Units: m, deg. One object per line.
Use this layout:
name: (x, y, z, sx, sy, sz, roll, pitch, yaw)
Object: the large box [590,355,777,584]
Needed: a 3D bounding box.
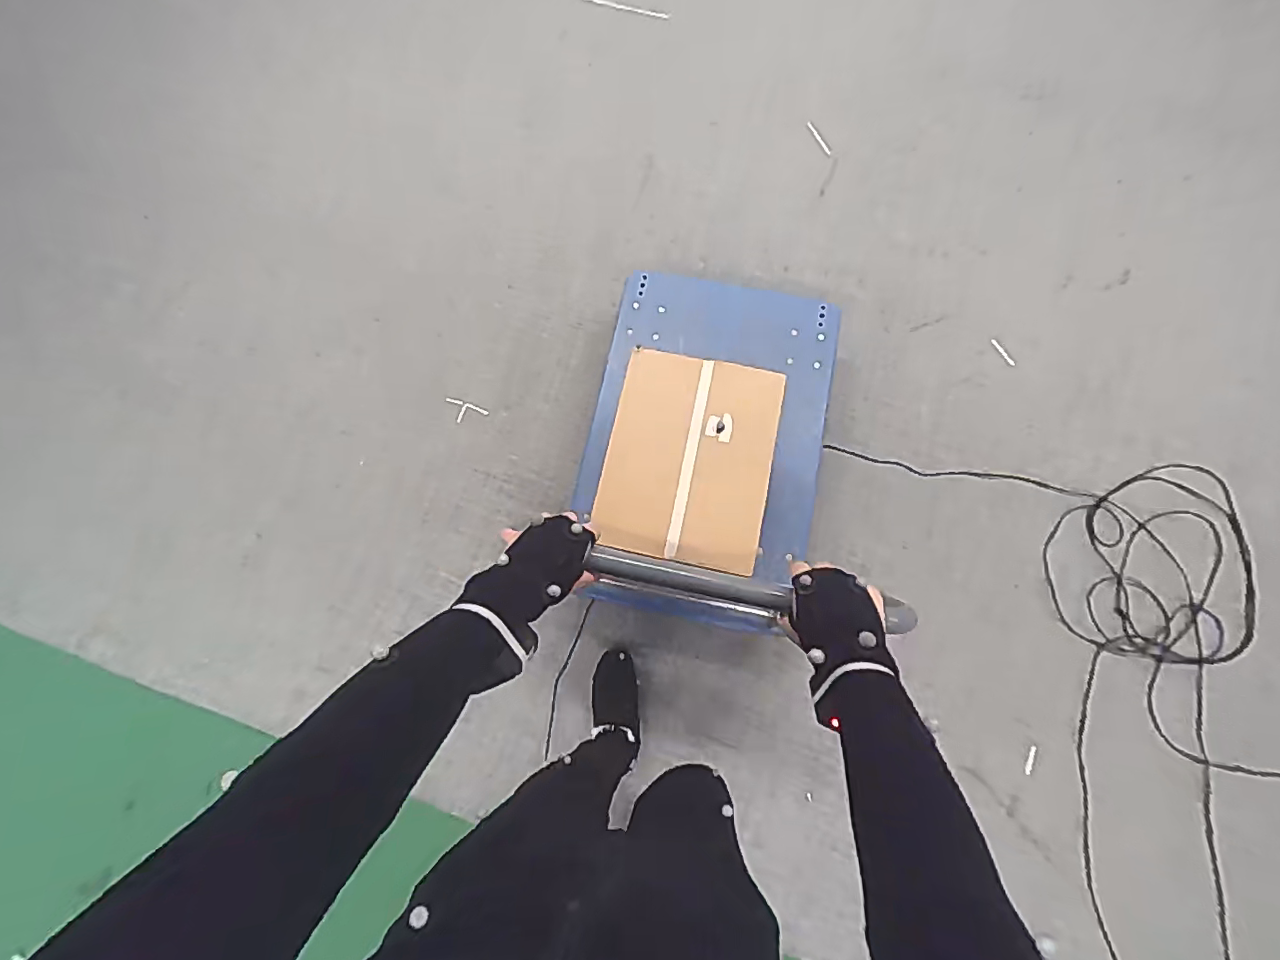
large box: (0.095, -0.004, 1.197, 0.320, 0.320, 0.408, 12, 76, 4)
